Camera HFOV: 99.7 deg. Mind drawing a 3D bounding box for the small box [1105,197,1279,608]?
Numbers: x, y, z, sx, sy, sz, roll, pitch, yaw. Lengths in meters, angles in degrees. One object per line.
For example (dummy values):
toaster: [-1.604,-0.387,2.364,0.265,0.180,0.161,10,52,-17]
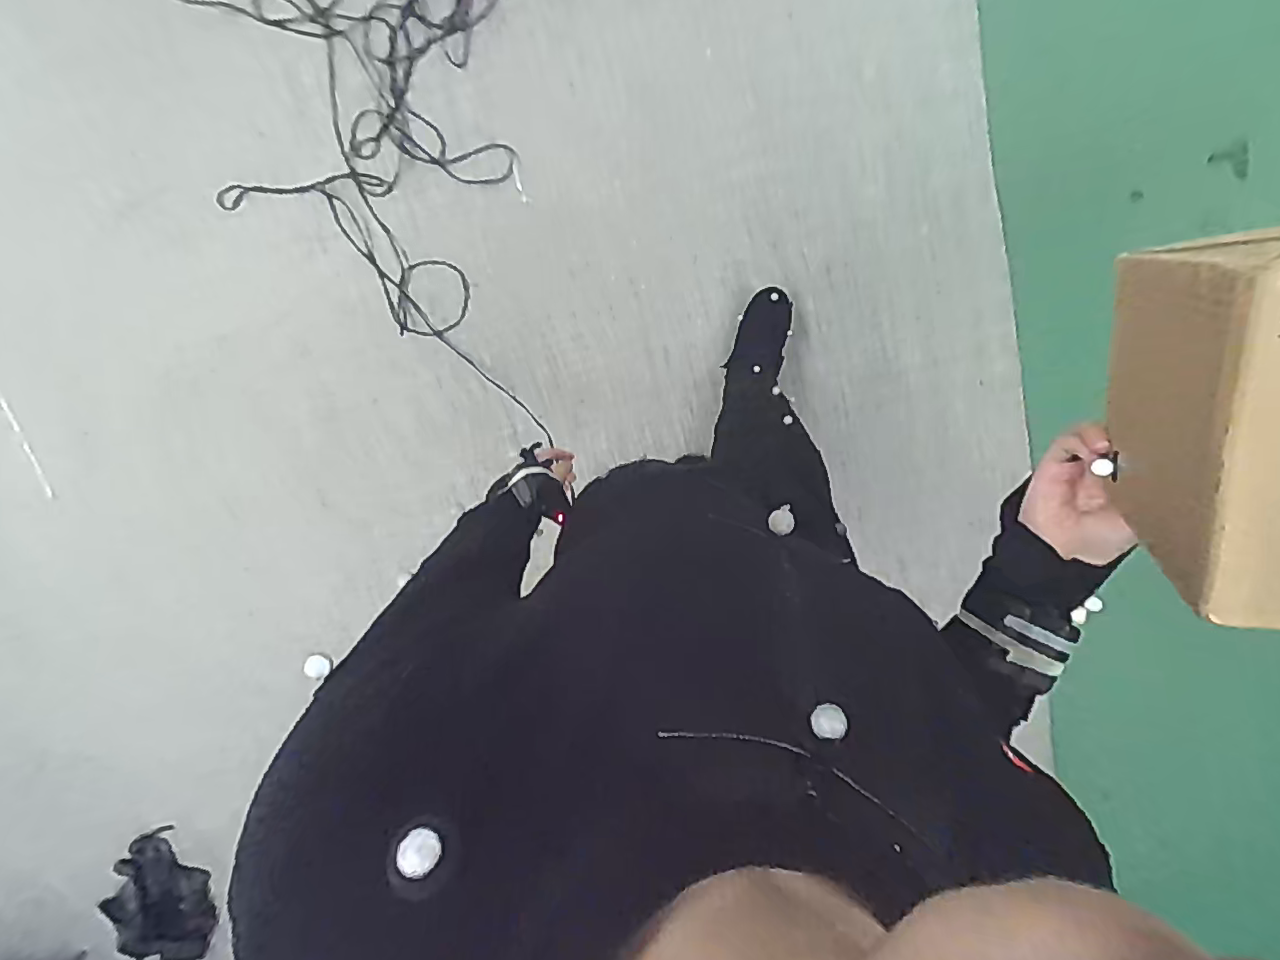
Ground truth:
small box: [0.355,-0.054,0.261,0.168,0.179,0.176,-3,111,28]
